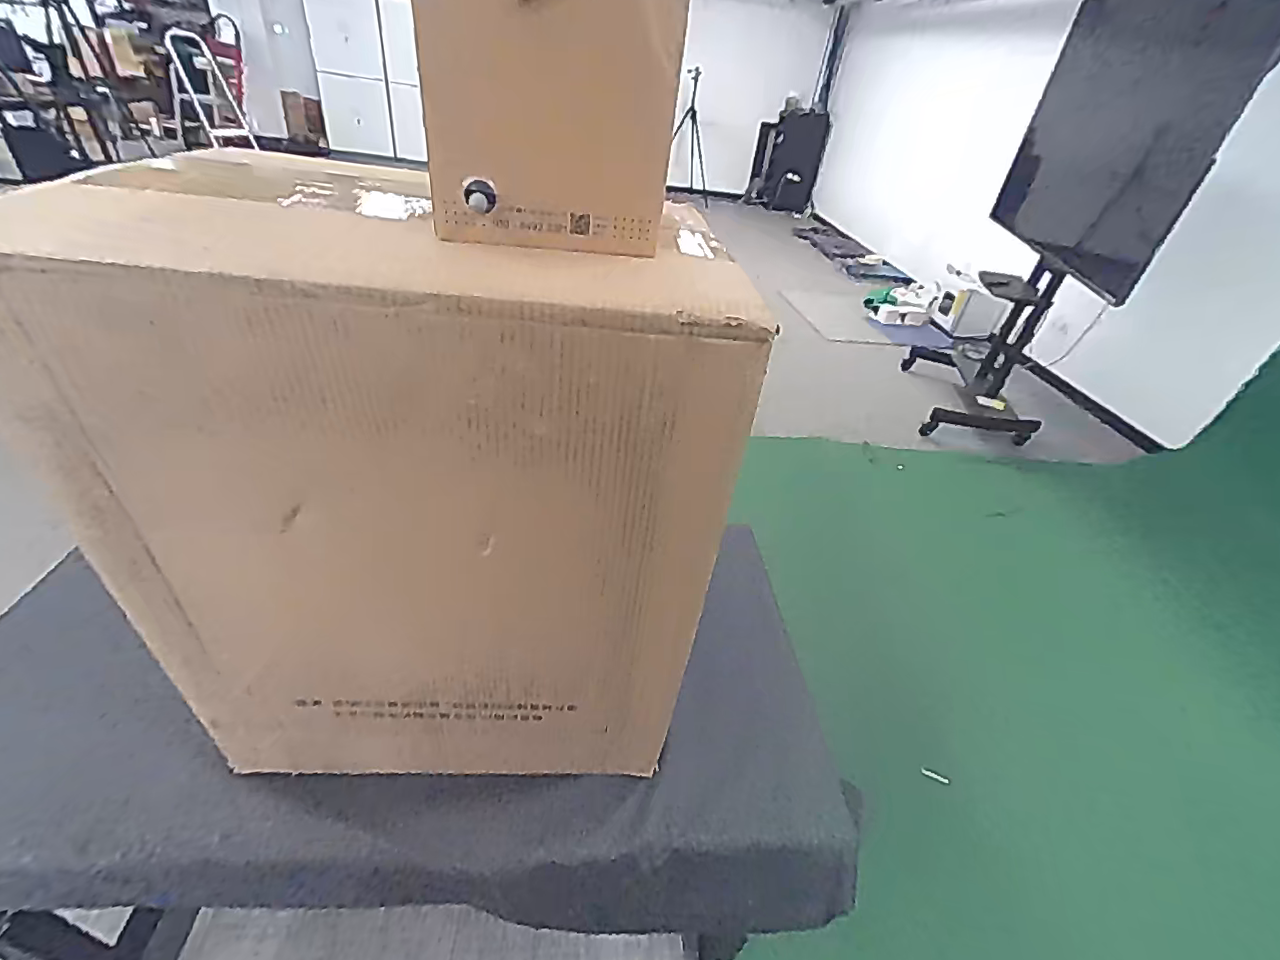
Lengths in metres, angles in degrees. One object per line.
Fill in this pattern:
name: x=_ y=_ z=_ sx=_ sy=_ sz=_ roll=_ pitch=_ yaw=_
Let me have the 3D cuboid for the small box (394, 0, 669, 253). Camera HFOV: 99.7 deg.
small box: x=-0.078 y=-0.289 z=0.421 sx=0.168 sy=0.176 sz=0.179 roll=-1 pitch=39 yaw=-11
